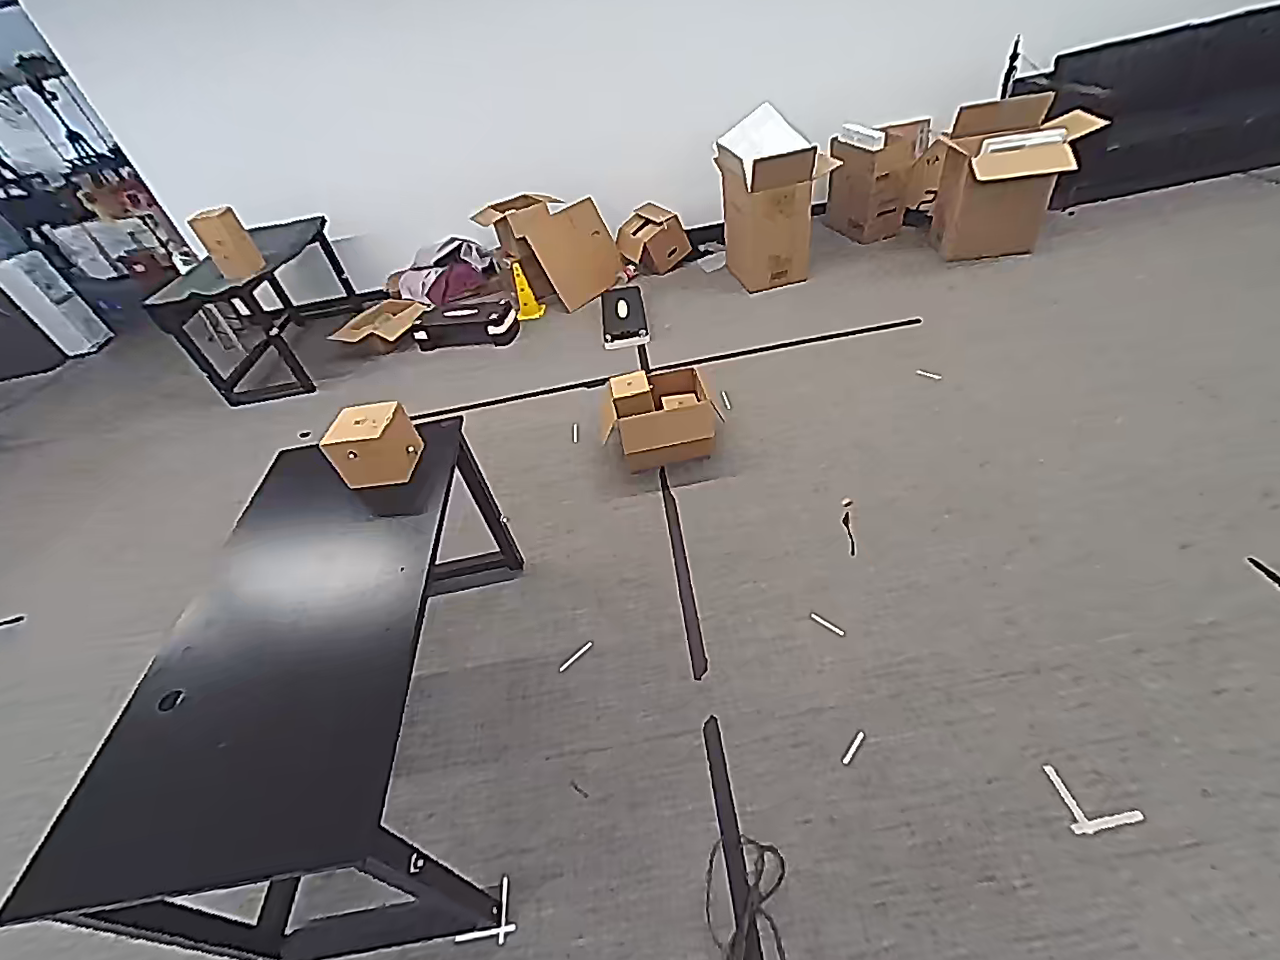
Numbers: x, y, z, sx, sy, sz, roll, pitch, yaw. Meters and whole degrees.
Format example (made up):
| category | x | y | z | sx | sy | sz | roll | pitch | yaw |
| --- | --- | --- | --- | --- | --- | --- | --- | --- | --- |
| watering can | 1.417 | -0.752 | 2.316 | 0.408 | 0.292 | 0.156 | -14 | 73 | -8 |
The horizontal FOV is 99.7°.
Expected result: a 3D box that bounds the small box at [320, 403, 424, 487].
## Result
| category | x | y | z | sx | sy | sz | roll | pitch | yaw |
| --- | --- | --- | --- | --- | --- | --- | --- | --- | --- |
| small box | -0.748 | -0.095 | 1.528 | 0.179 | 0.176 | 0.168 | -6 | 44 | 7 |
